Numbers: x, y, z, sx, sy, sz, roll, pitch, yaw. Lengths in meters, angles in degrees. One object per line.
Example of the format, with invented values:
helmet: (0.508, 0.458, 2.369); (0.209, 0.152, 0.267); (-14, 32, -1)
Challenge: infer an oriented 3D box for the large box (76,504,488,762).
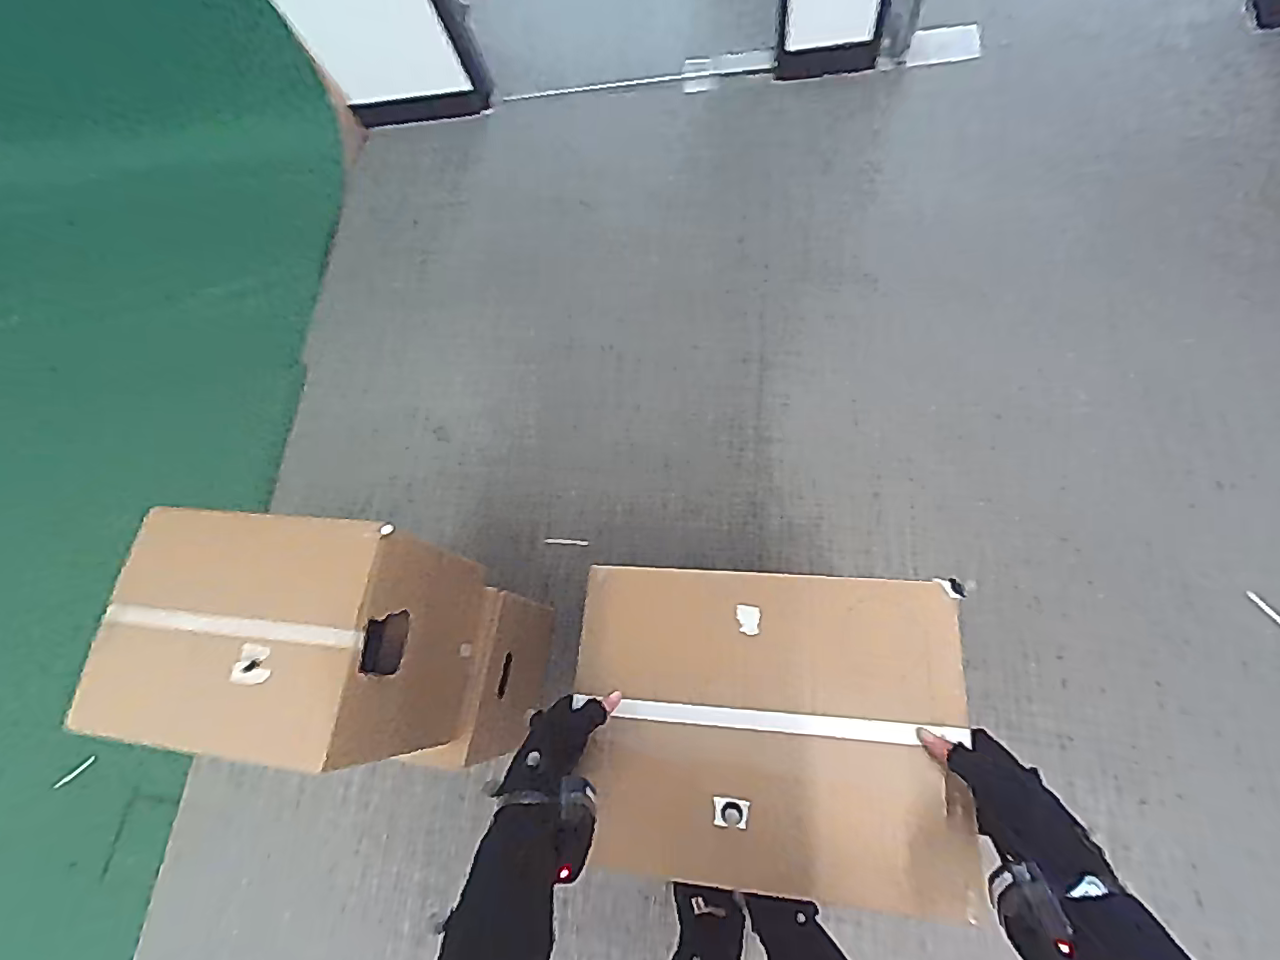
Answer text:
large box: (-0.521, 0.243, 0.874); (0.408, 0.320, 0.320); (3, 70, 11)
